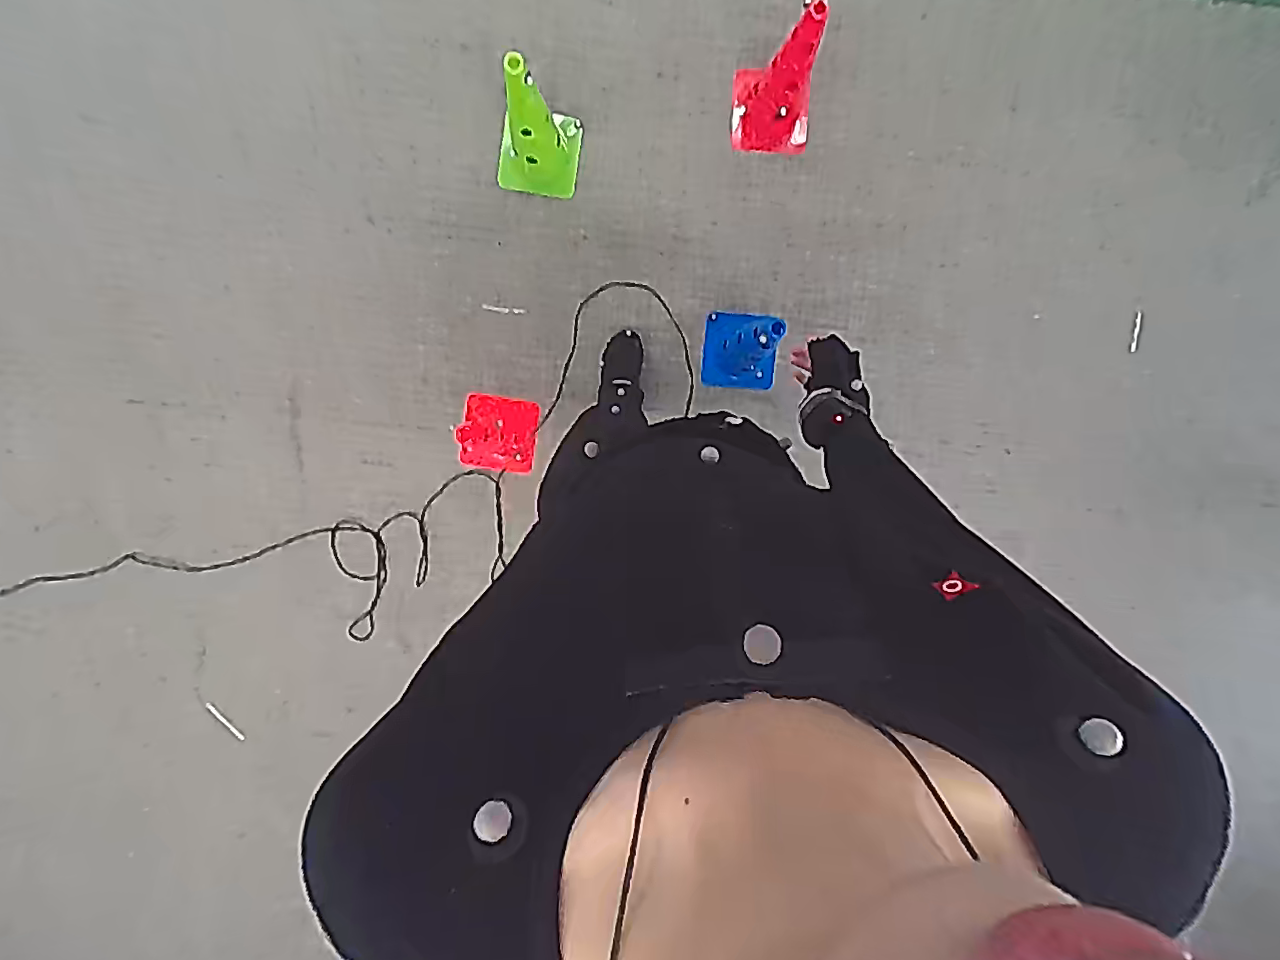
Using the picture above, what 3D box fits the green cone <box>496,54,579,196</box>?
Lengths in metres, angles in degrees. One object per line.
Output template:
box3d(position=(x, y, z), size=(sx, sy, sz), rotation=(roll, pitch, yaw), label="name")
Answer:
box3d(position=(-0.259, -0.829, 1.221), size=(0.200, 0.368, 0.202), rotation=(7, 96, -3), label="green cone")

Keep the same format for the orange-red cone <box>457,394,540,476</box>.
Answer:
box3d(position=(-0.370, -0.108, 1.287), size=(0.198, 0.360, 0.199), rotation=(10, 93, -4), label="orange-red cone")
